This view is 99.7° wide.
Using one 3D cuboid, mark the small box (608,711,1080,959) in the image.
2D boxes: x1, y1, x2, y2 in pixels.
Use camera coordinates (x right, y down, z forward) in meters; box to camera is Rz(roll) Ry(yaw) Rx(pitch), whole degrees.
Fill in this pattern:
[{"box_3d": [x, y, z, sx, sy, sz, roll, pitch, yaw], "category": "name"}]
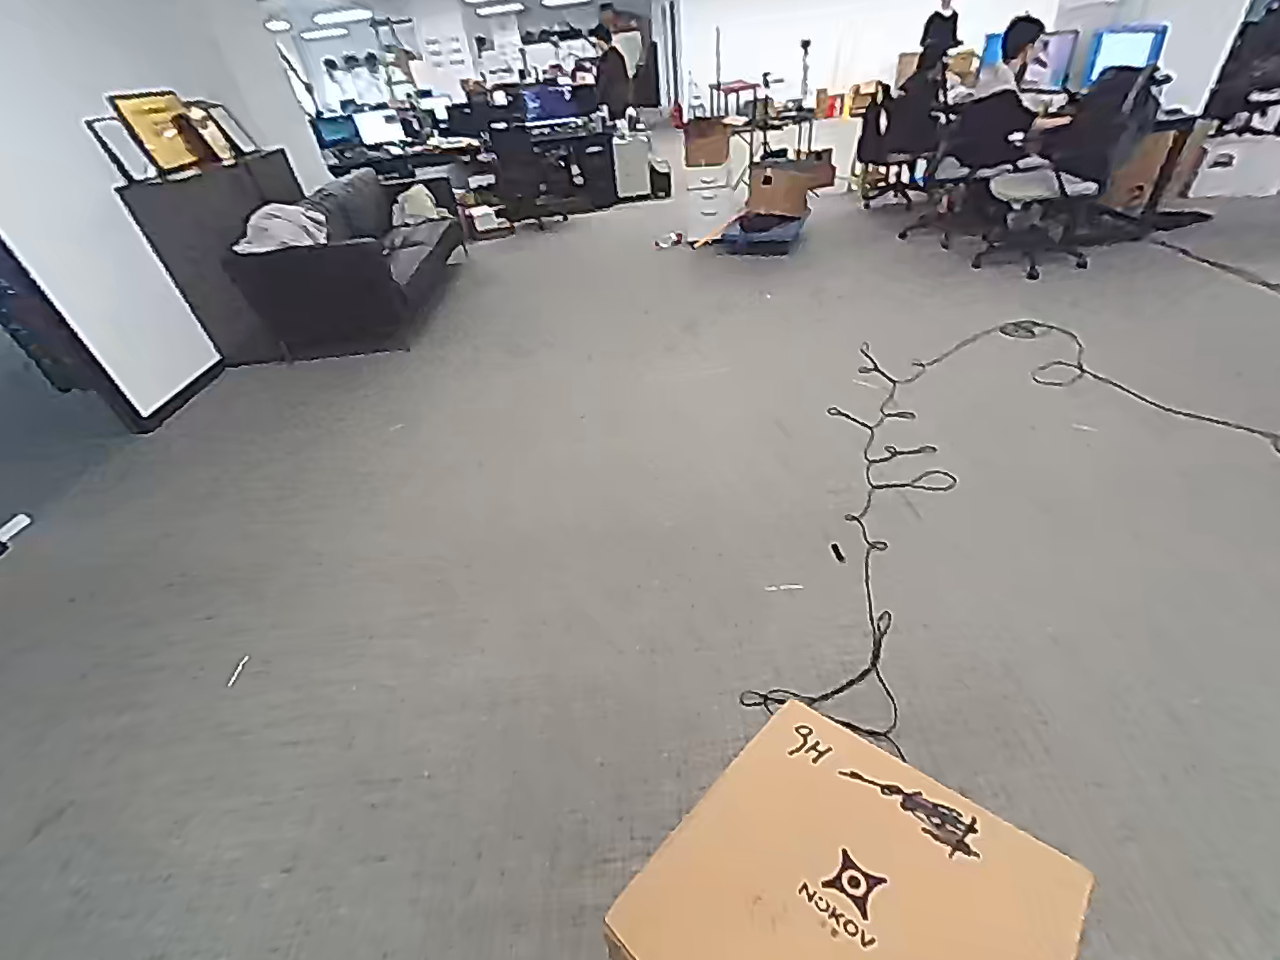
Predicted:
[{"box_3d": [0.110, 0.282, 0.303, 0.168, 0.176, 0.179, 19, 37, 42], "category": "small box"}]
